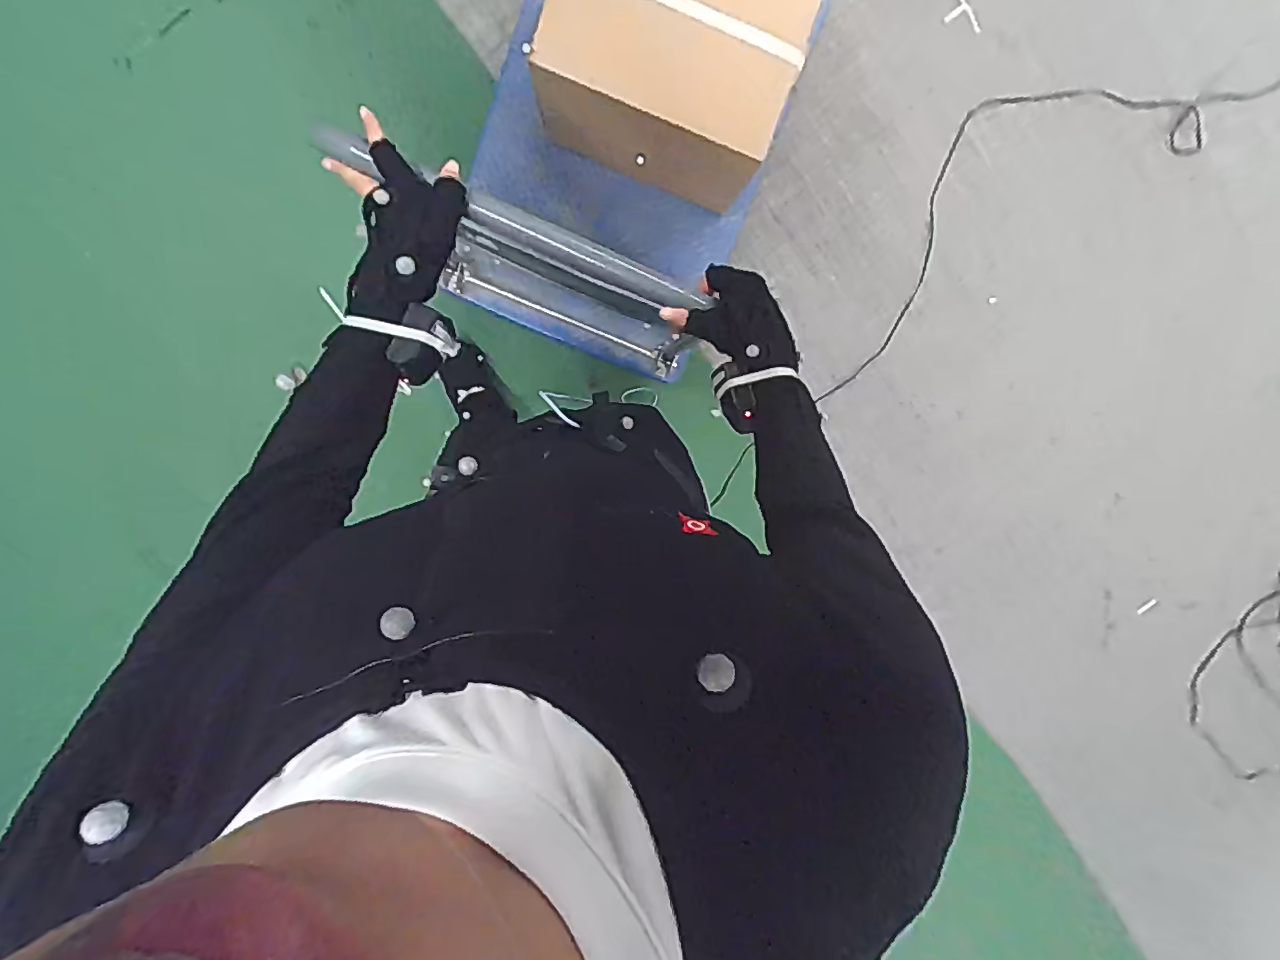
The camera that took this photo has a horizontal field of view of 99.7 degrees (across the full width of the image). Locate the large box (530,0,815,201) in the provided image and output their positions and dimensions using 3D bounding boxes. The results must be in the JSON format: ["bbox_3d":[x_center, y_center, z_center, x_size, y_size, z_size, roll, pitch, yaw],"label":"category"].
[{"bbox_3d":[0.056,-0.772,0.983,0.408,0.320,0.320,19,99,-7],"label":"large box"}]
